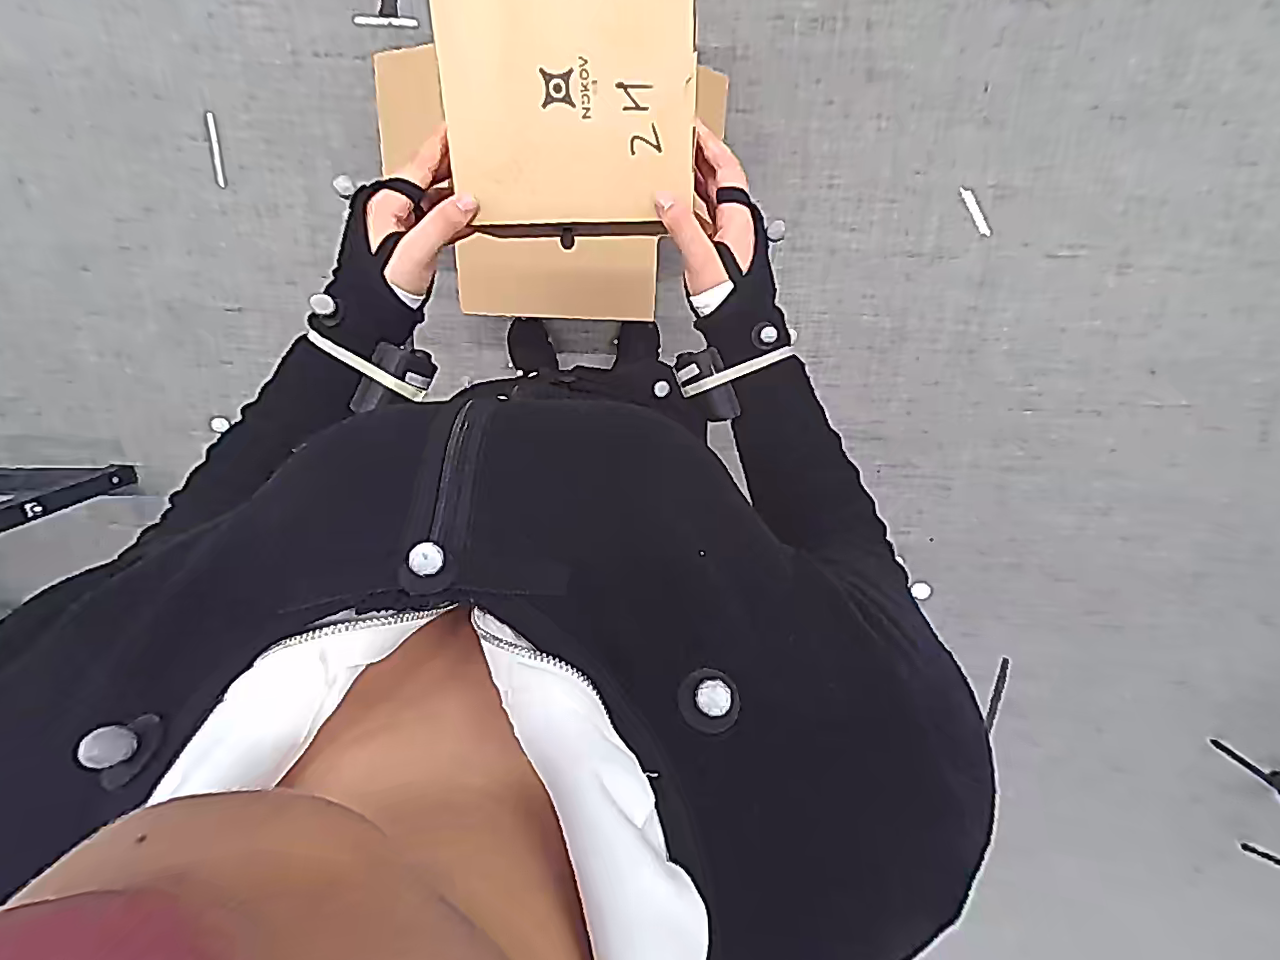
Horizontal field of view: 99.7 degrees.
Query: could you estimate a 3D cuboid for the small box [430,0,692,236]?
[{"bbox_3d":[-0.056,-0.298,0.451,0.179,0.176,0.168,-3,112,-4],"label":"small box"}]
